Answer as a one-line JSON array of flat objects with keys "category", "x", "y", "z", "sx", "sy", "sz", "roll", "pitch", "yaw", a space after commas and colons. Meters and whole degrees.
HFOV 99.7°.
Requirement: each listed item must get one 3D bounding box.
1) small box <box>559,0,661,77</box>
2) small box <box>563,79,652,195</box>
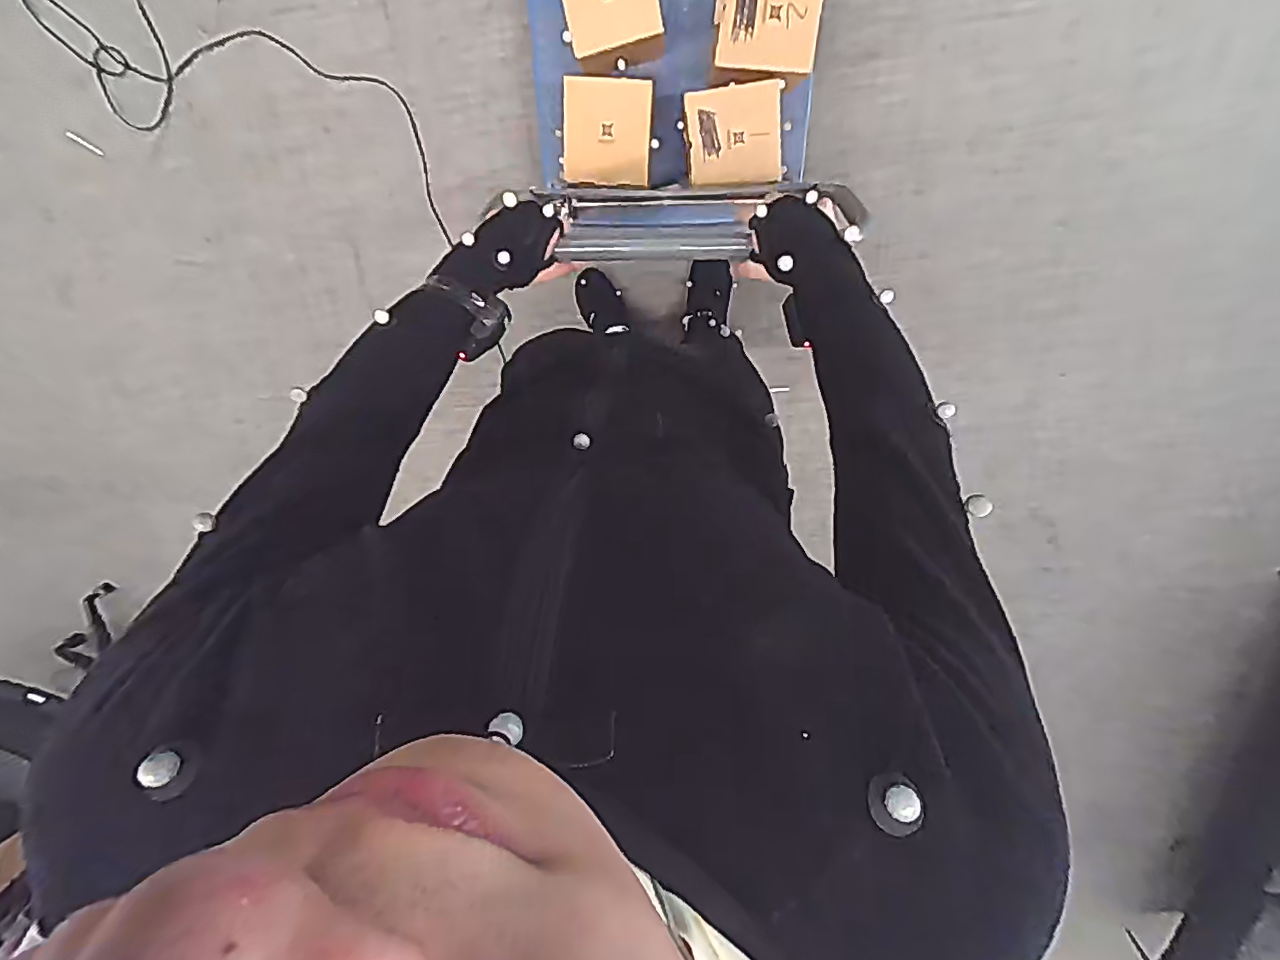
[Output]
[{"category": "small box", "x": -0.056, "y": -0.878, "z": 1.004, "sx": 0.168, "sy": 0.176, "sz": 0.179, "roll": -10, "pitch": 115, "yaw": 7}, {"category": "small box", "x": -0.064, "y": -0.687, "z": 1.100, "sx": 0.168, "sy": 0.176, "sz": 0.179, "roll": 4, "pitch": 117, "yaw": 1}]
